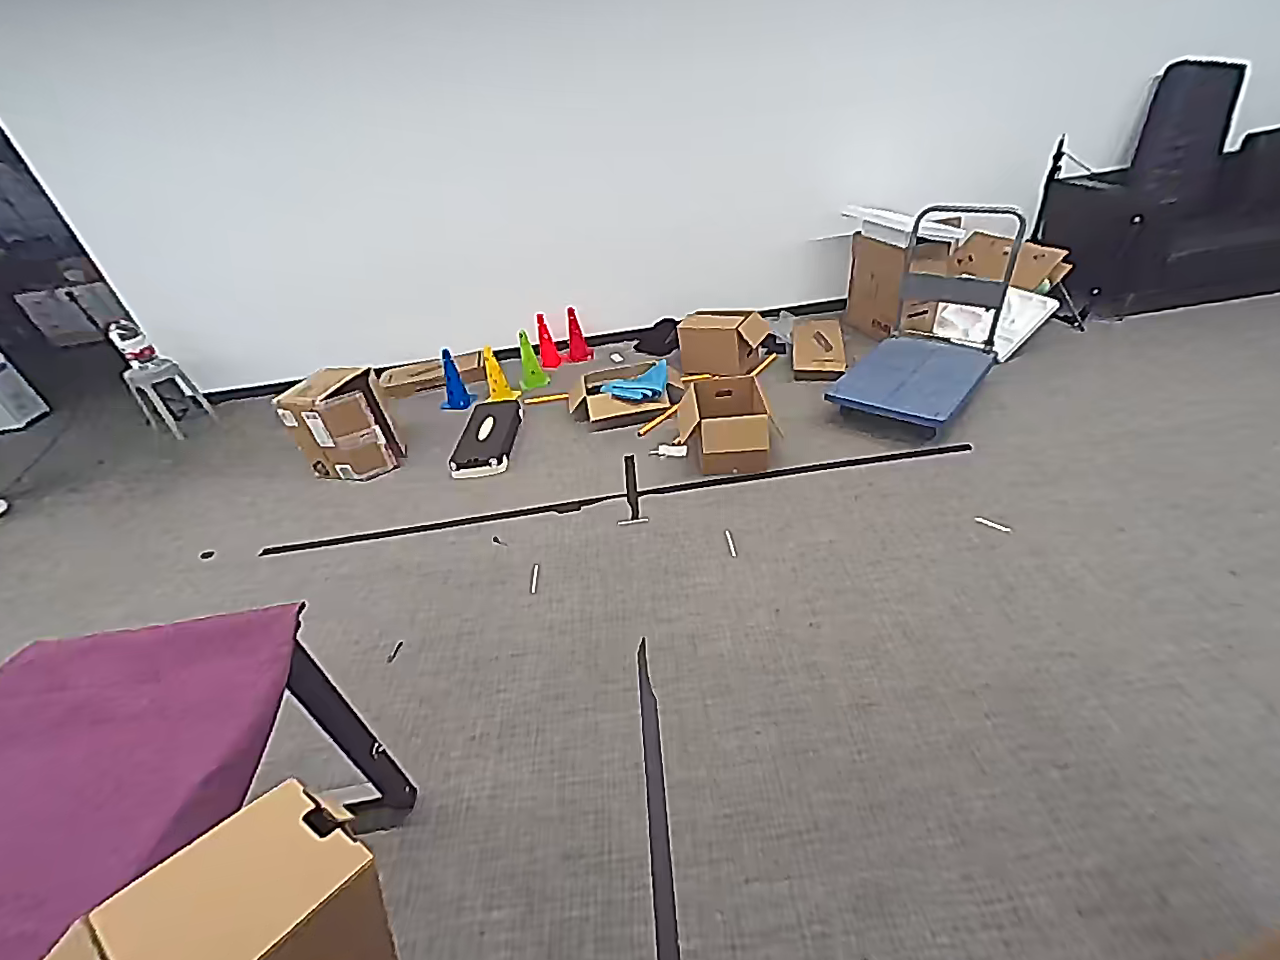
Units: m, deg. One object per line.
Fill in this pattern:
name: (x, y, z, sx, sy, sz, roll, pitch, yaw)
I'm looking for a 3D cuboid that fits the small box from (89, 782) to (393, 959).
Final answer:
small box: (-0.371, 0.454, 0.526, 0.168, 0.176, 0.179, 14, 23, 31)
